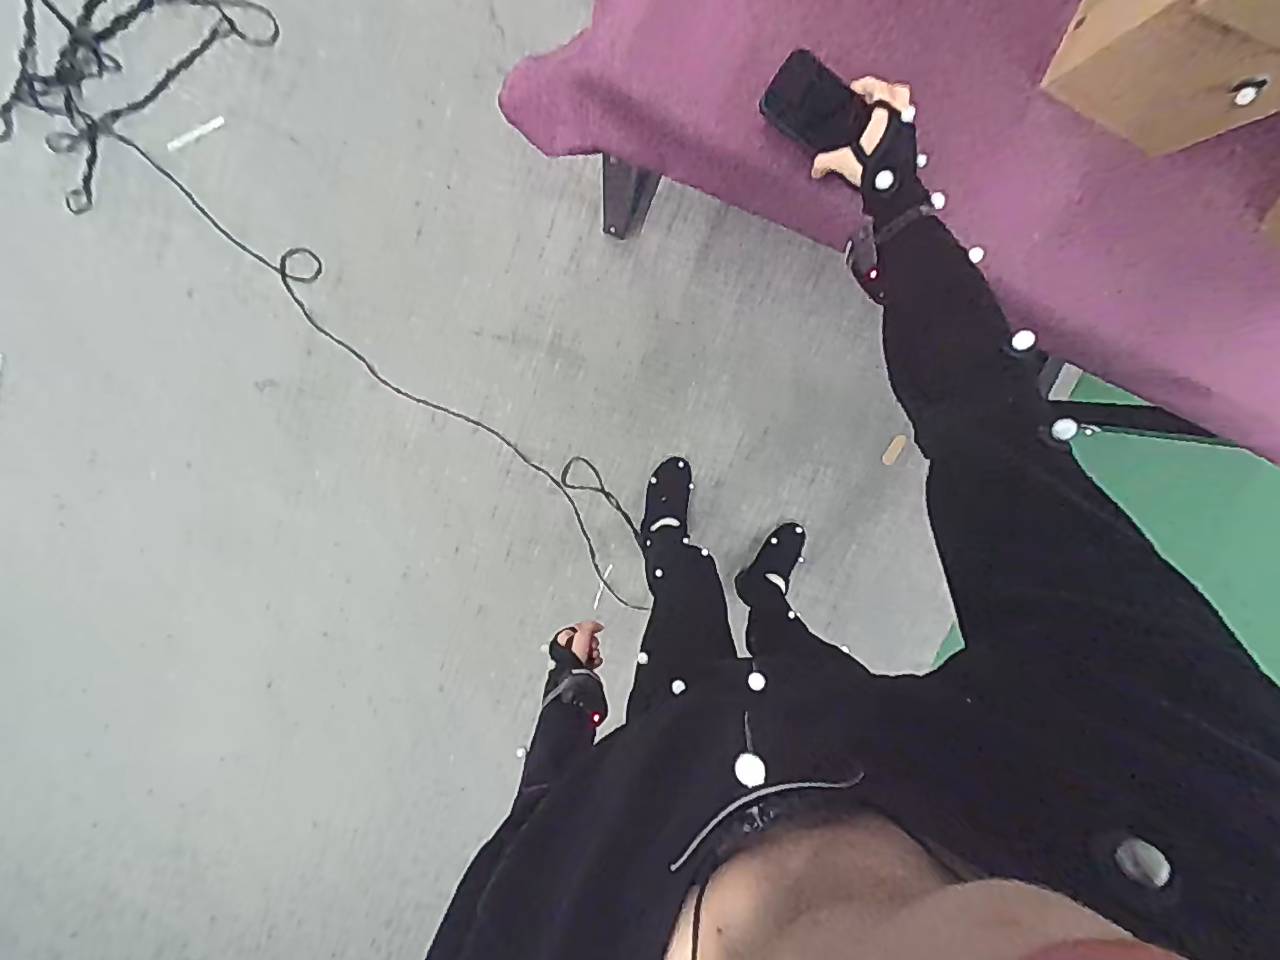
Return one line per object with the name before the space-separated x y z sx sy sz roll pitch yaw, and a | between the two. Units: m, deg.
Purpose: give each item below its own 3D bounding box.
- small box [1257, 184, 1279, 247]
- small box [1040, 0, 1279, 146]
small box | 0.864 -0.320 0.584 0.179 0.176 0.168 30 98 -9
small box | 0.561 -0.467 0.531 0.179 0.176 0.168 24 99 -8
